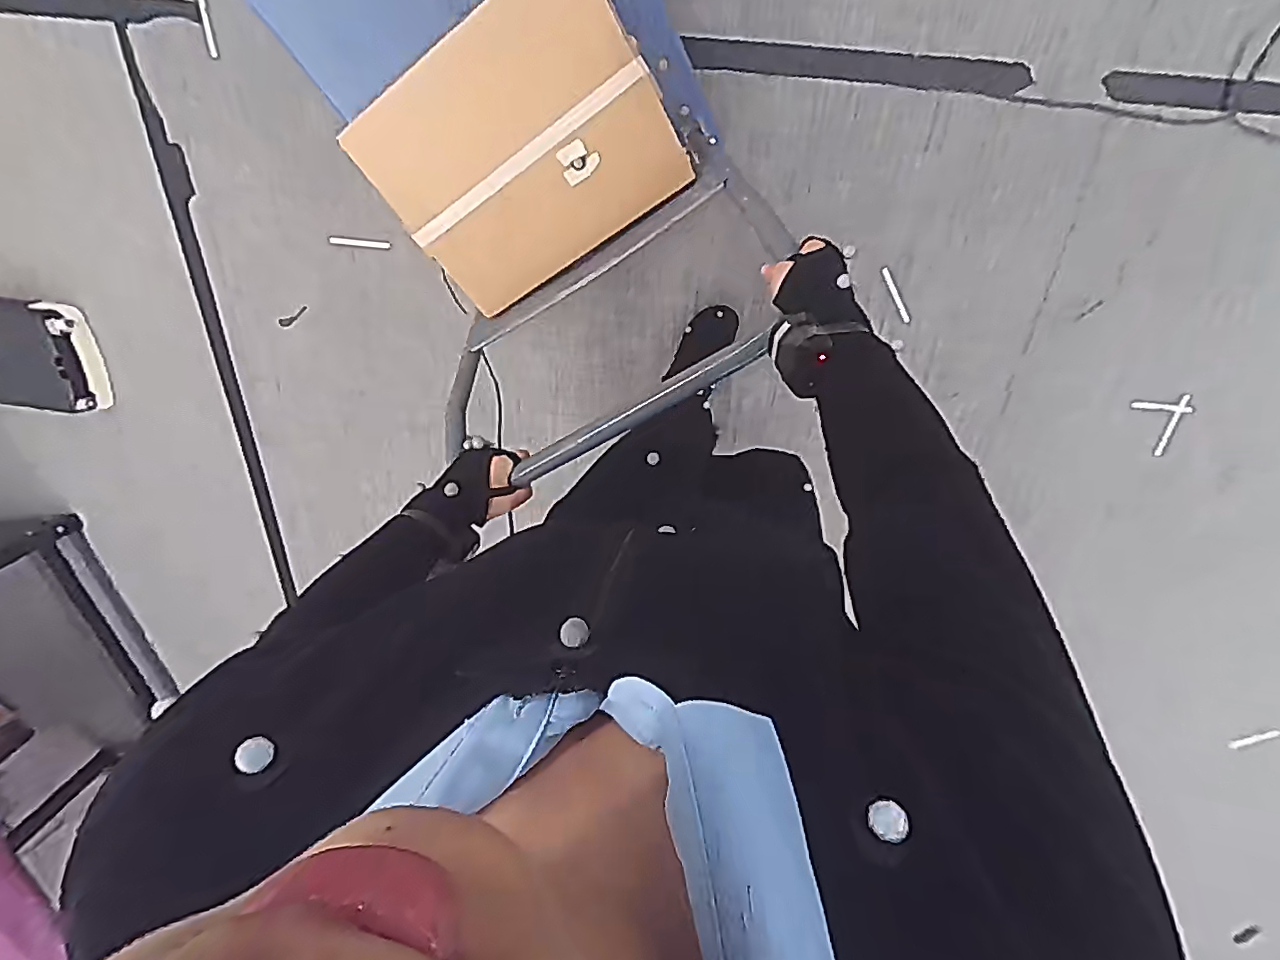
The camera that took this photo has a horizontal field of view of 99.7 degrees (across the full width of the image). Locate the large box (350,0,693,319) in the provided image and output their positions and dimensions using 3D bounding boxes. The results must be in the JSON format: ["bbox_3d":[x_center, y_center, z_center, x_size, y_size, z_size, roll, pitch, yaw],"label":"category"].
[{"bbox_3d":[-0.174,-0.549,0.897,0.408,0.320,0.320,-28,126,17],"label":"large box"}]
